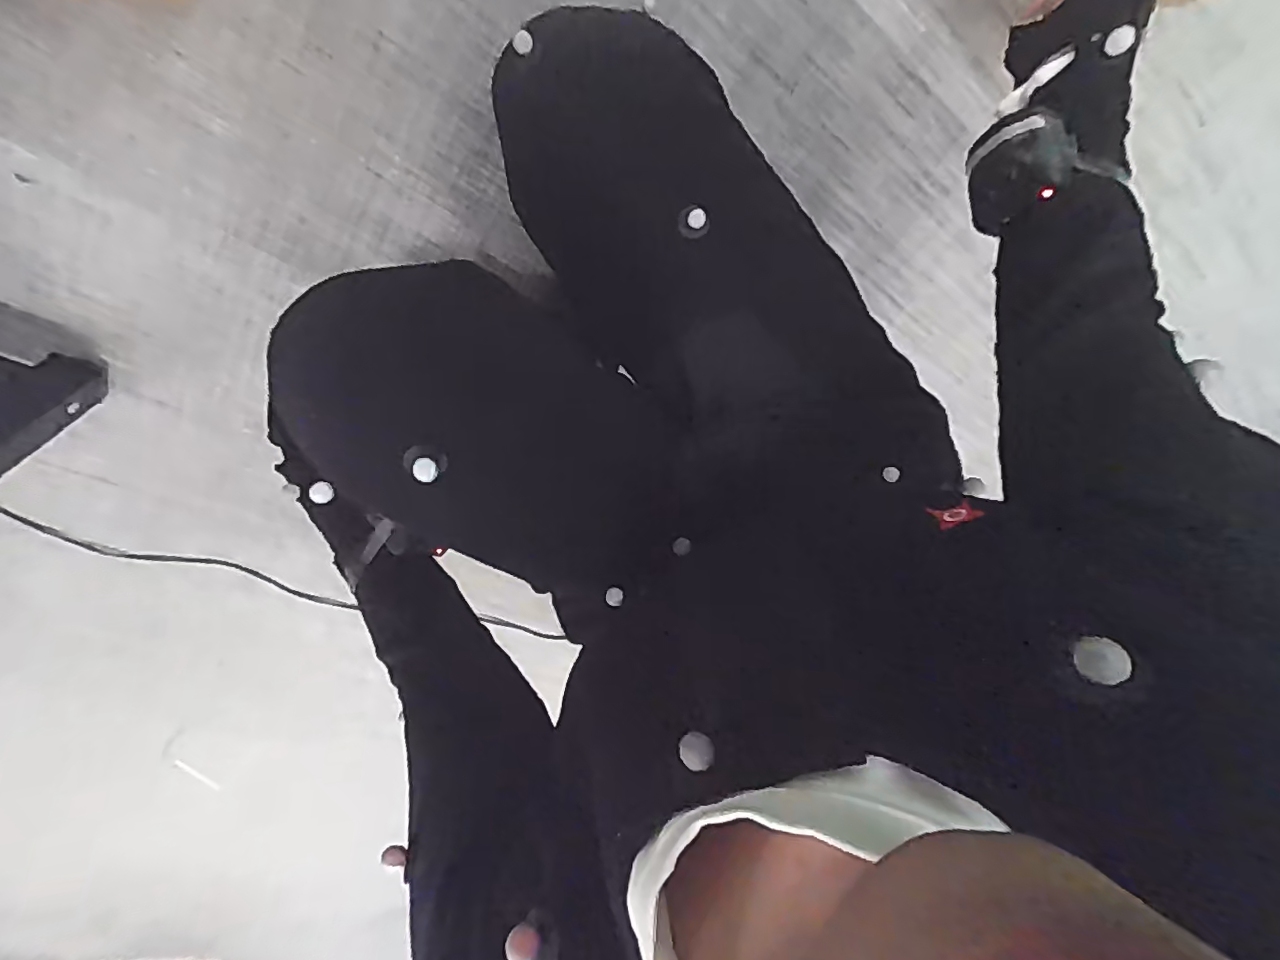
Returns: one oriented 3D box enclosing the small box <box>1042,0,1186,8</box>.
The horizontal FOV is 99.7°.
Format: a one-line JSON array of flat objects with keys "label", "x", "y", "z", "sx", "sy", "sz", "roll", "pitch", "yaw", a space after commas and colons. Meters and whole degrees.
[{"label": "small box", "x": 0.411, "y": -0.514, "z": 0.417, "sx": 0.168, "sy": 0.176, "sz": 0.179, "roll": 30, "pitch": 121, "yaw": -27}]
